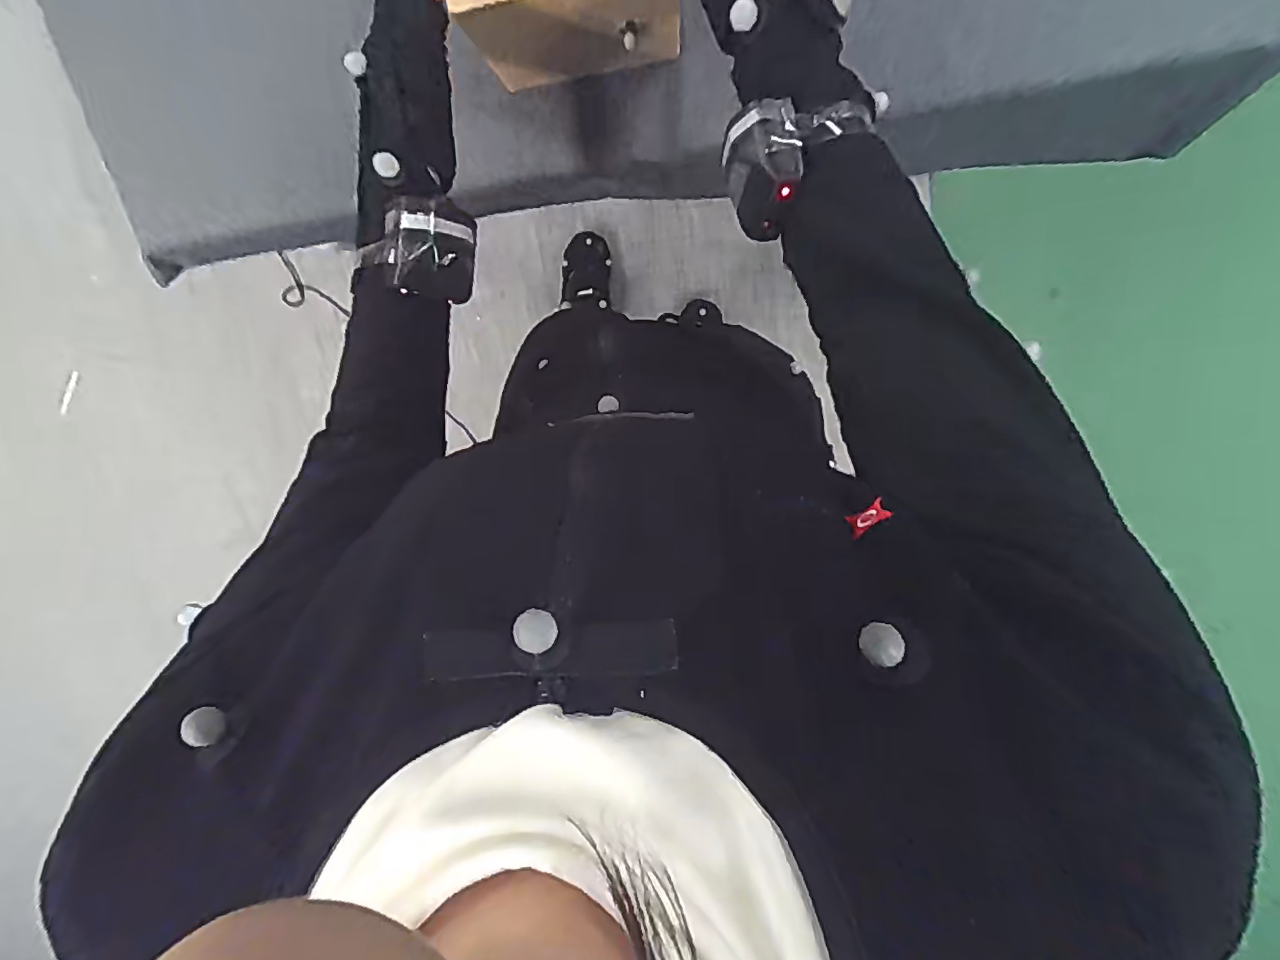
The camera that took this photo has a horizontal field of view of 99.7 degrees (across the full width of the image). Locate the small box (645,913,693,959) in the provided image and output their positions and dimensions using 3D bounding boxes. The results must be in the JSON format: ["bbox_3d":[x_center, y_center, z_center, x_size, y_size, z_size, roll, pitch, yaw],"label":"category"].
[{"bbox_3d":[0.113,1.787,2.056,0.179,0.176,0.168,-1,112,4],"label":"small box"}]

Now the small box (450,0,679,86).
[{"bbox_3d":[-0.061,-0.460,0.442,0.179,0.176,0.168,-7,108,8],"label":"small box"}]
